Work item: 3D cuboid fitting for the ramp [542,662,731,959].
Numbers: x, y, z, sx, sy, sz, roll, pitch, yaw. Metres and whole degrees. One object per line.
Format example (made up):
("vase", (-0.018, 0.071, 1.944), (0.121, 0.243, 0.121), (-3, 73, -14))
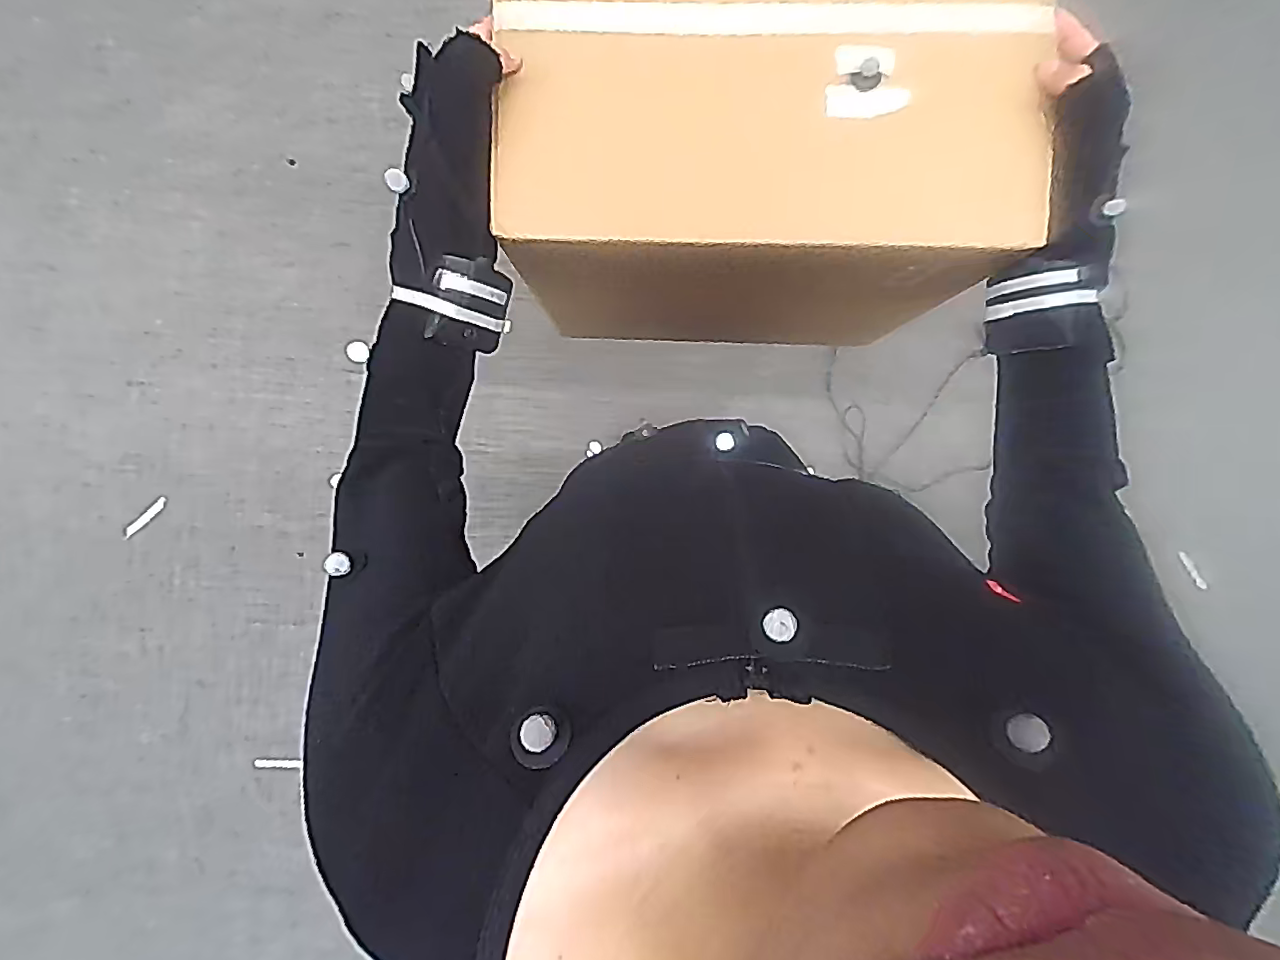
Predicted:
("ramp", (-0.009, 1.022, 1.492), (0.509, 0.206, 0.991), (2, 95, 1))

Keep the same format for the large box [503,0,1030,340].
("large box", (0.093, -0.336, 0.559), (0.408, 0.320, 0.320), (1, 91, 0))
